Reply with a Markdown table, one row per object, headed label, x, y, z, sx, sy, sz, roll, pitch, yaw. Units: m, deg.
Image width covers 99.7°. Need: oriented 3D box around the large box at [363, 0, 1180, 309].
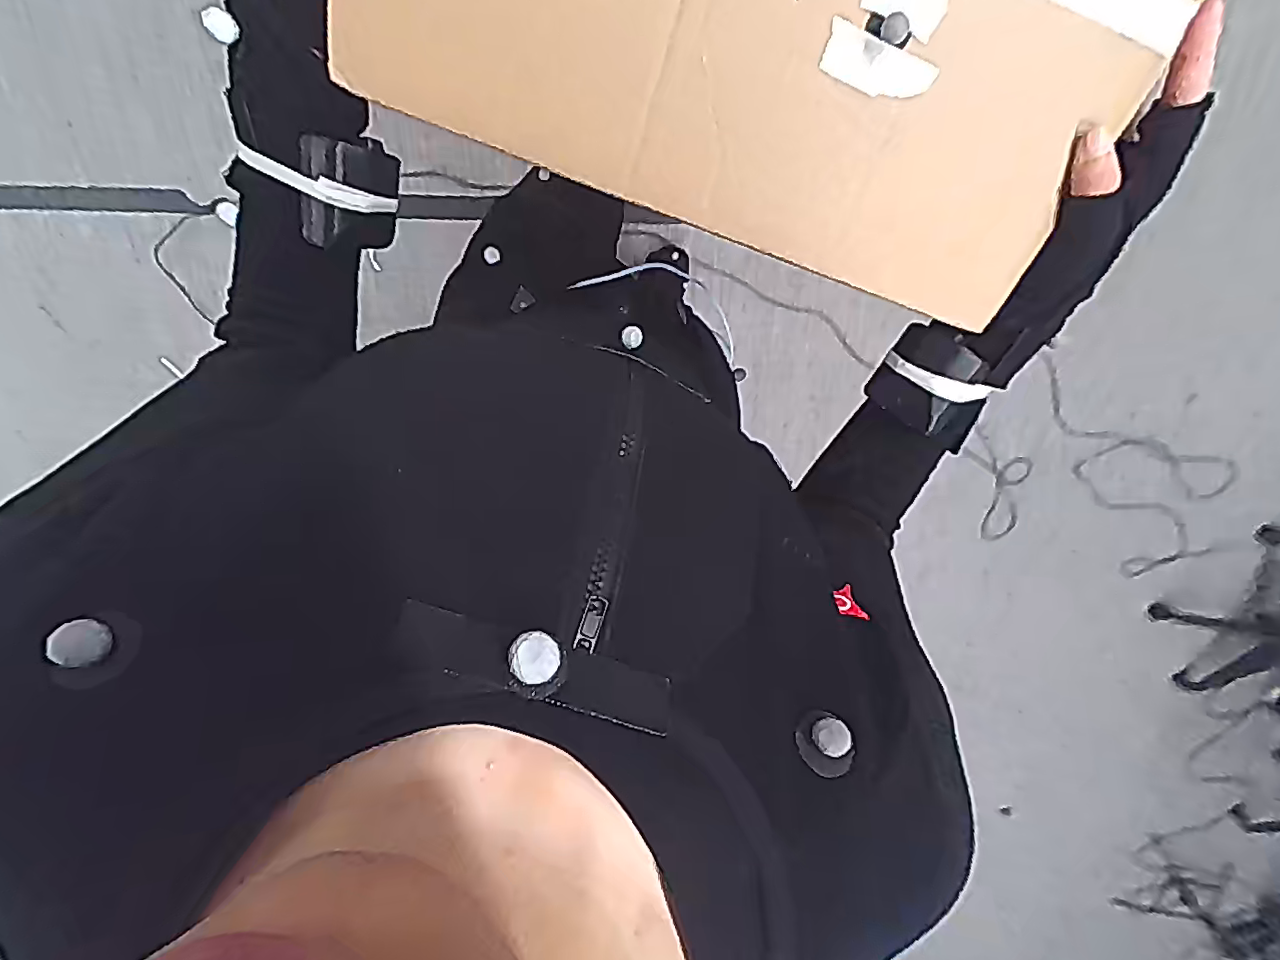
| label | x | y | z | sx | sy | sz | roll | pitch | yaw |
| --- | --- | --- | --- | --- | --- | --- | --- | --- | --- |
| large box | 0.082 | -0.364 | 0.380 | 0.408 | 0.320 | 0.320 | 17 | 121 | -8 |
